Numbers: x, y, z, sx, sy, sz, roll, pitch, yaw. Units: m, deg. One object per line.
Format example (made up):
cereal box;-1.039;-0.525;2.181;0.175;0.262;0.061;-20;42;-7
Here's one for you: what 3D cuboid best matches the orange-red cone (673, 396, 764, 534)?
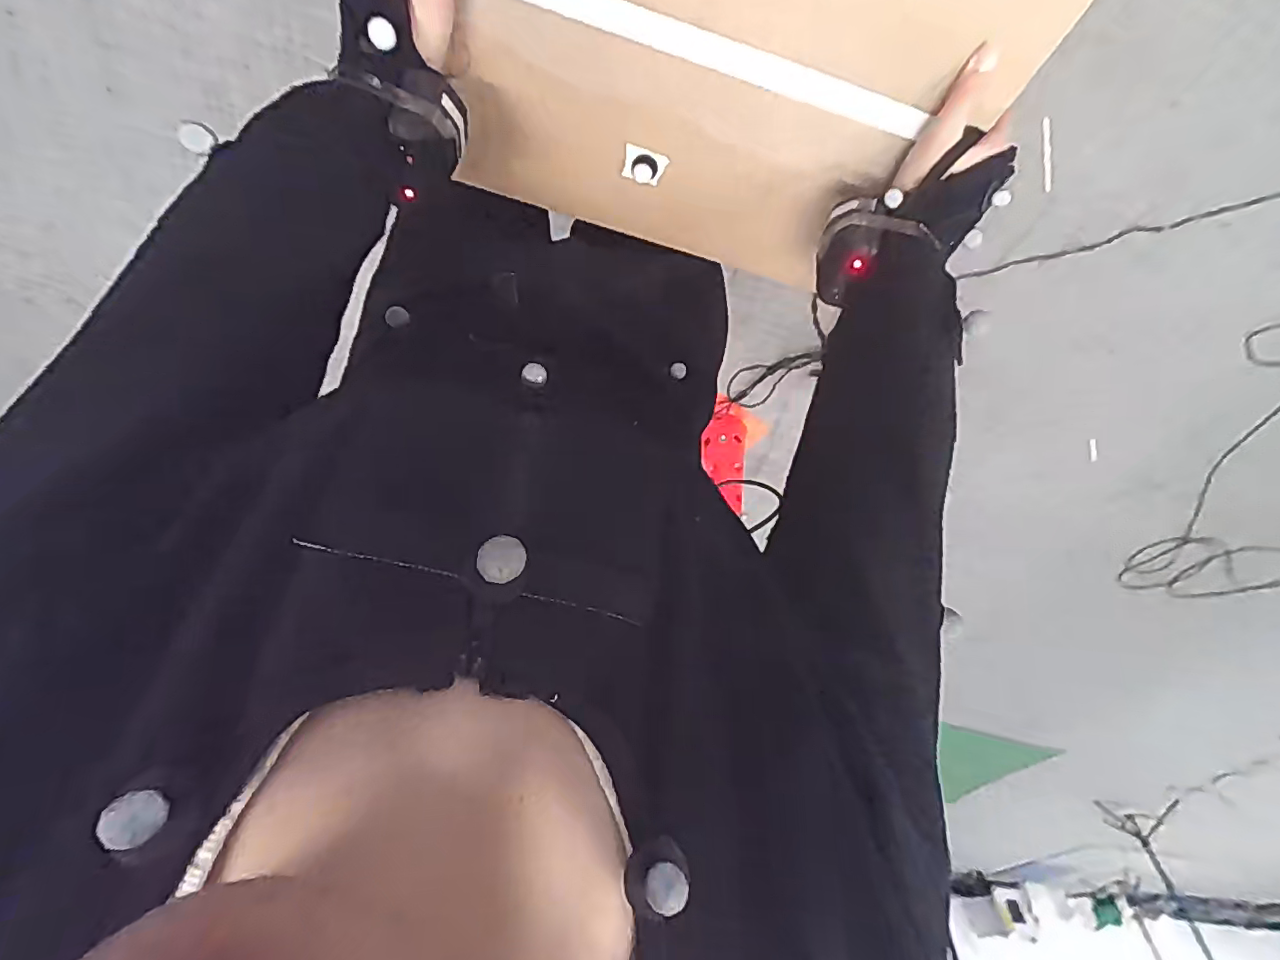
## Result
orange-red cone;0.212;-0.010;1.371;0.199;0.360;0.198;30;128;-25
